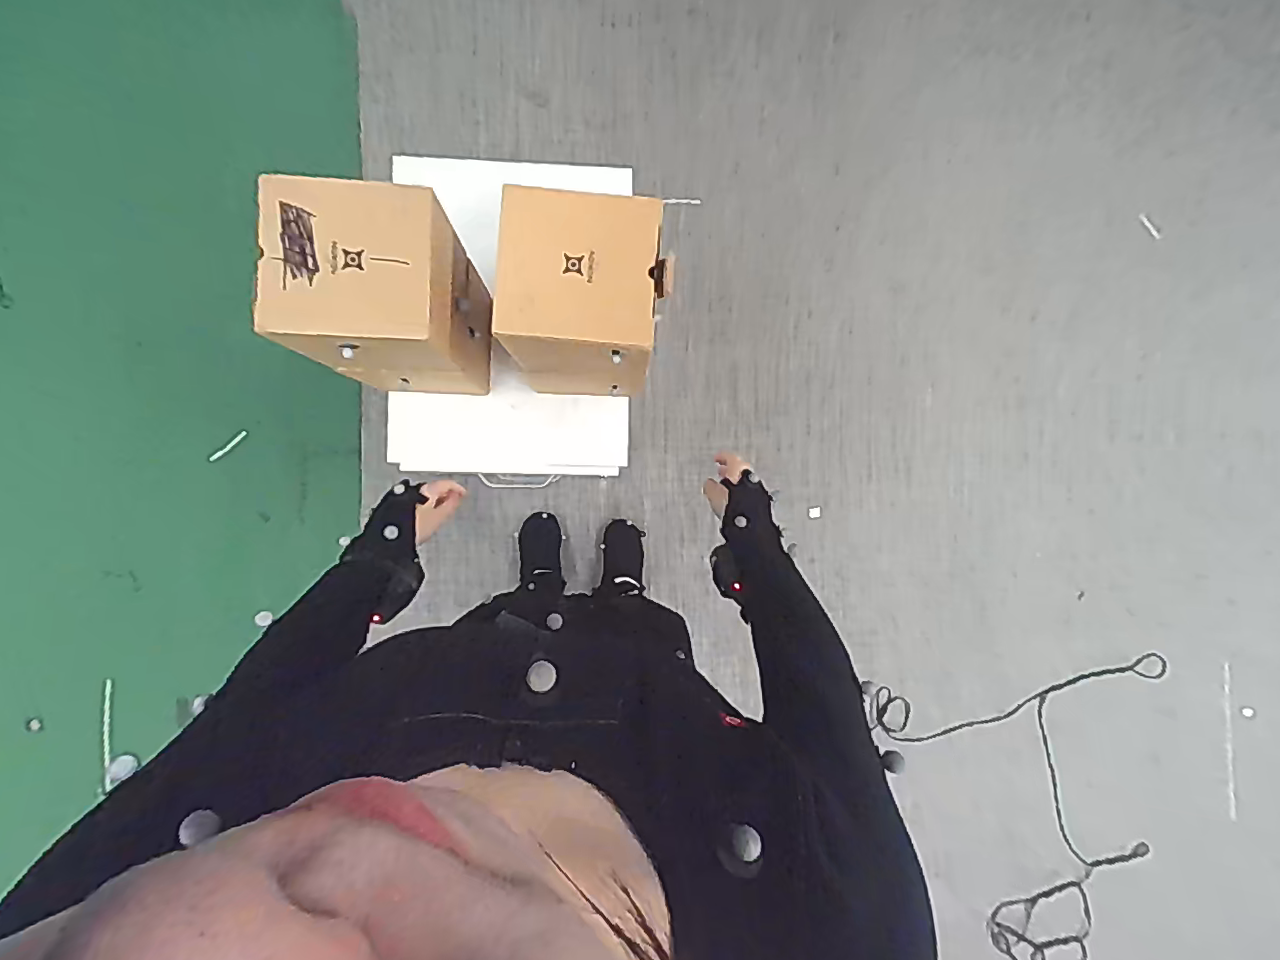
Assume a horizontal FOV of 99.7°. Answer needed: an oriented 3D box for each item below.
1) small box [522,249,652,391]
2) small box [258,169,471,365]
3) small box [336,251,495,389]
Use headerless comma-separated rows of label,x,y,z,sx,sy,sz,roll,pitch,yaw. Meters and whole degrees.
small box,-0.077,-0.232,0.823,0.179,0.176,0.168,2,90,-2
small box,-0.309,-0.235,0.639,0.179,0.176,0.168,1,90,-6
small box,-0.322,-0.232,0.804,0.179,0.176,0.168,2,91,-6
